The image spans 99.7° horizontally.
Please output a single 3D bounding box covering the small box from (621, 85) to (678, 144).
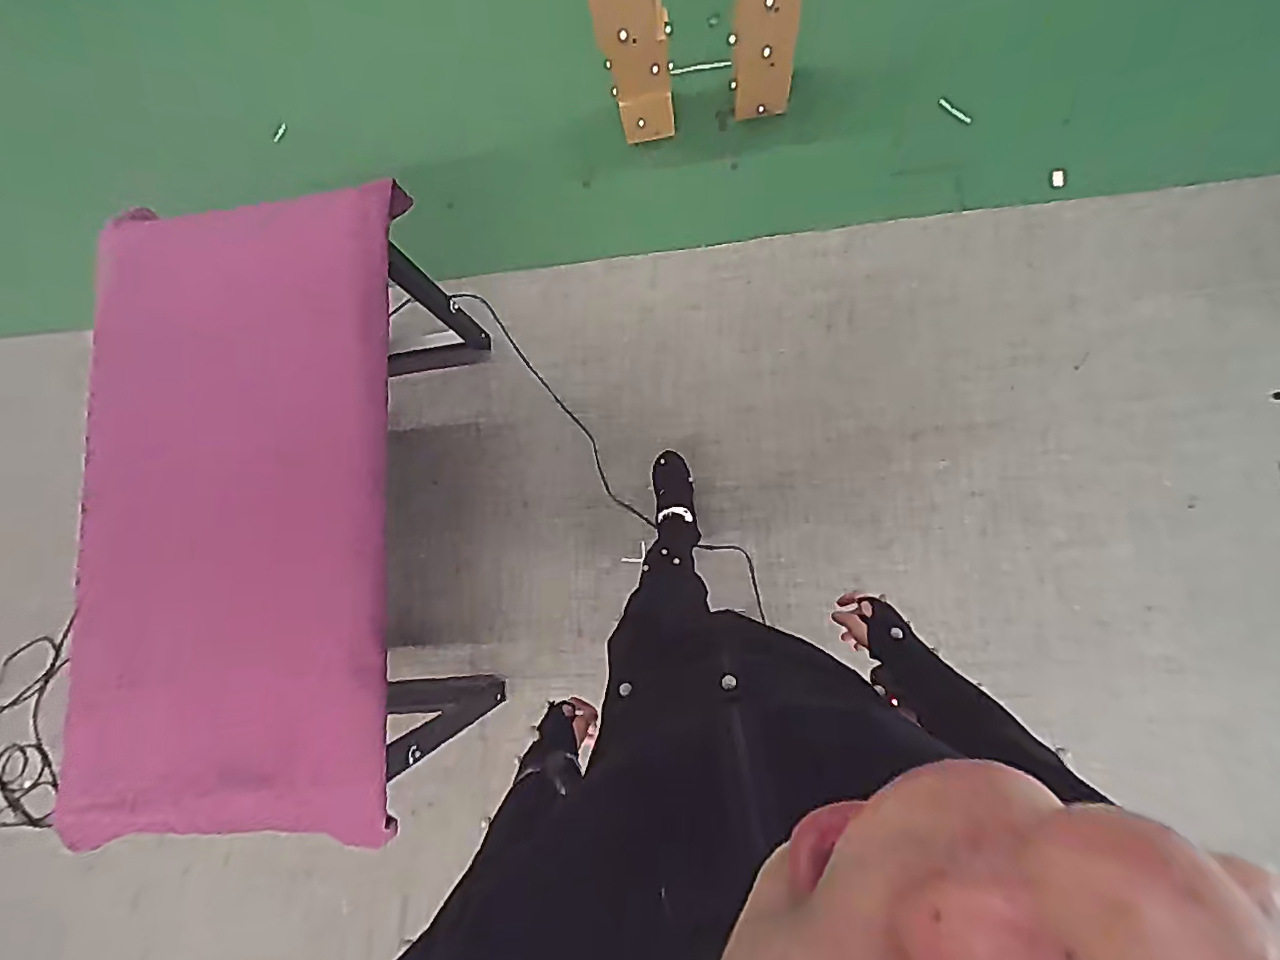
[{"bbox_3d":[0.028,-1.233,1.763,0.168,0.176,0.179,-7,80,8],"label":"small box"}]

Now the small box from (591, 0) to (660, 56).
[{"bbox_3d":[-0.039,-1.296,1.450,0.168,0.176,0.179,-3,81,9],"label":"small box"}]

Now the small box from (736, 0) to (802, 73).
[{"bbox_3d":[0.366,-1.314,1.555,0.168,0.176,0.179,-3,83,7],"label":"small box"}]

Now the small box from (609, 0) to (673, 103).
[{"bbox_3d":[0.003,-1.272,1.607,0.179,0.176,0.168,-7,80,8],"label":"small box"}]

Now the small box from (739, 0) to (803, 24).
[{"bbox_3d":[0.339,-1.337,1.394,0.168,0.176,0.179,-2,83,8],"label":"small box"}]
